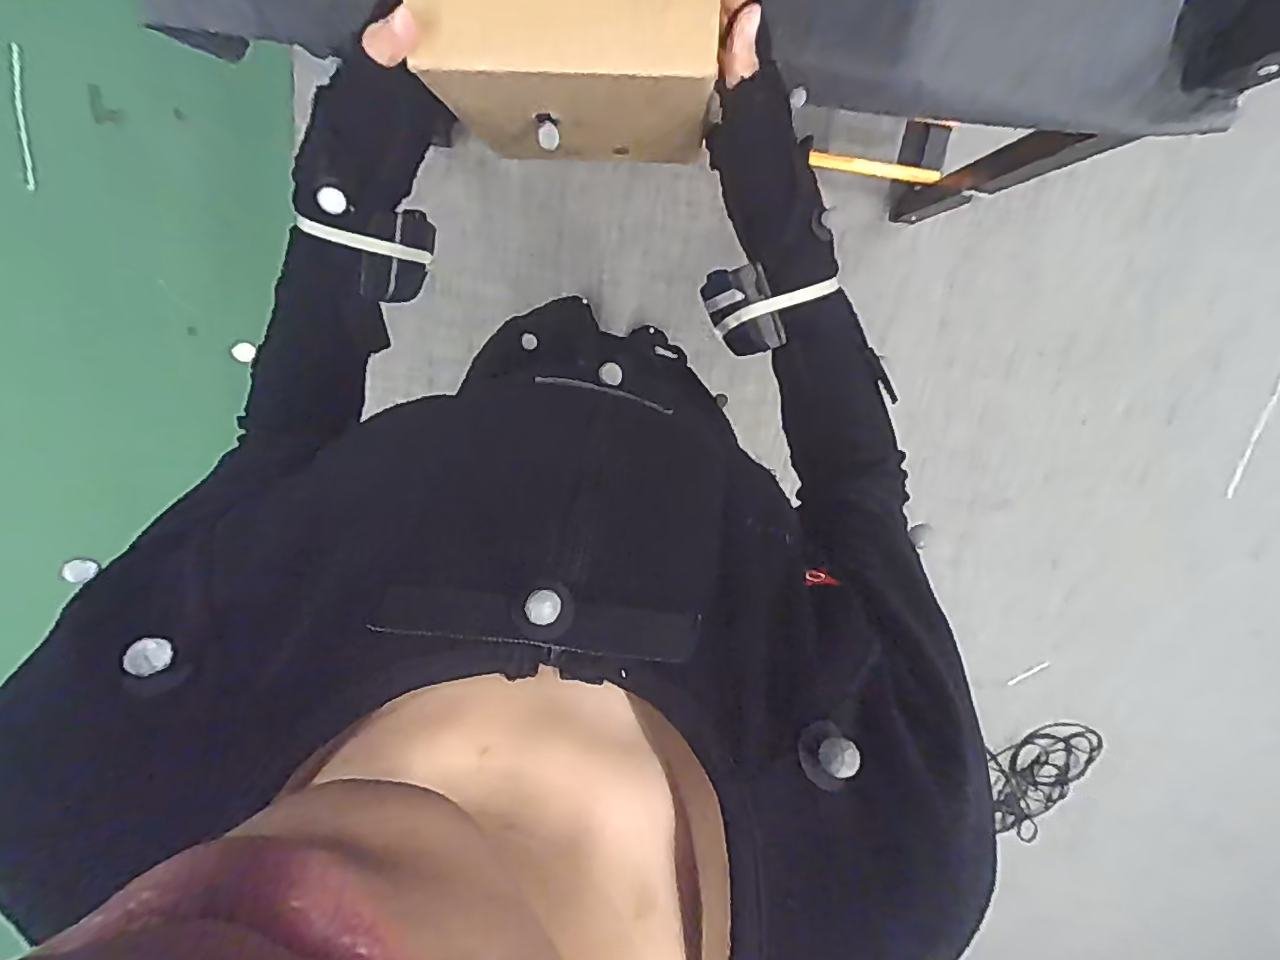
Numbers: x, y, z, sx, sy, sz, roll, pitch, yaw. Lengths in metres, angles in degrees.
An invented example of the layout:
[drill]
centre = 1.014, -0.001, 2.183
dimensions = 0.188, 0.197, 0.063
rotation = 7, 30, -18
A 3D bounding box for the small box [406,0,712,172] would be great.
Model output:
[small box]
centre = -0.037, -0.316, 0.349
dimensions = 0.168, 0.176, 0.179
rotation = 2, 105, 1
